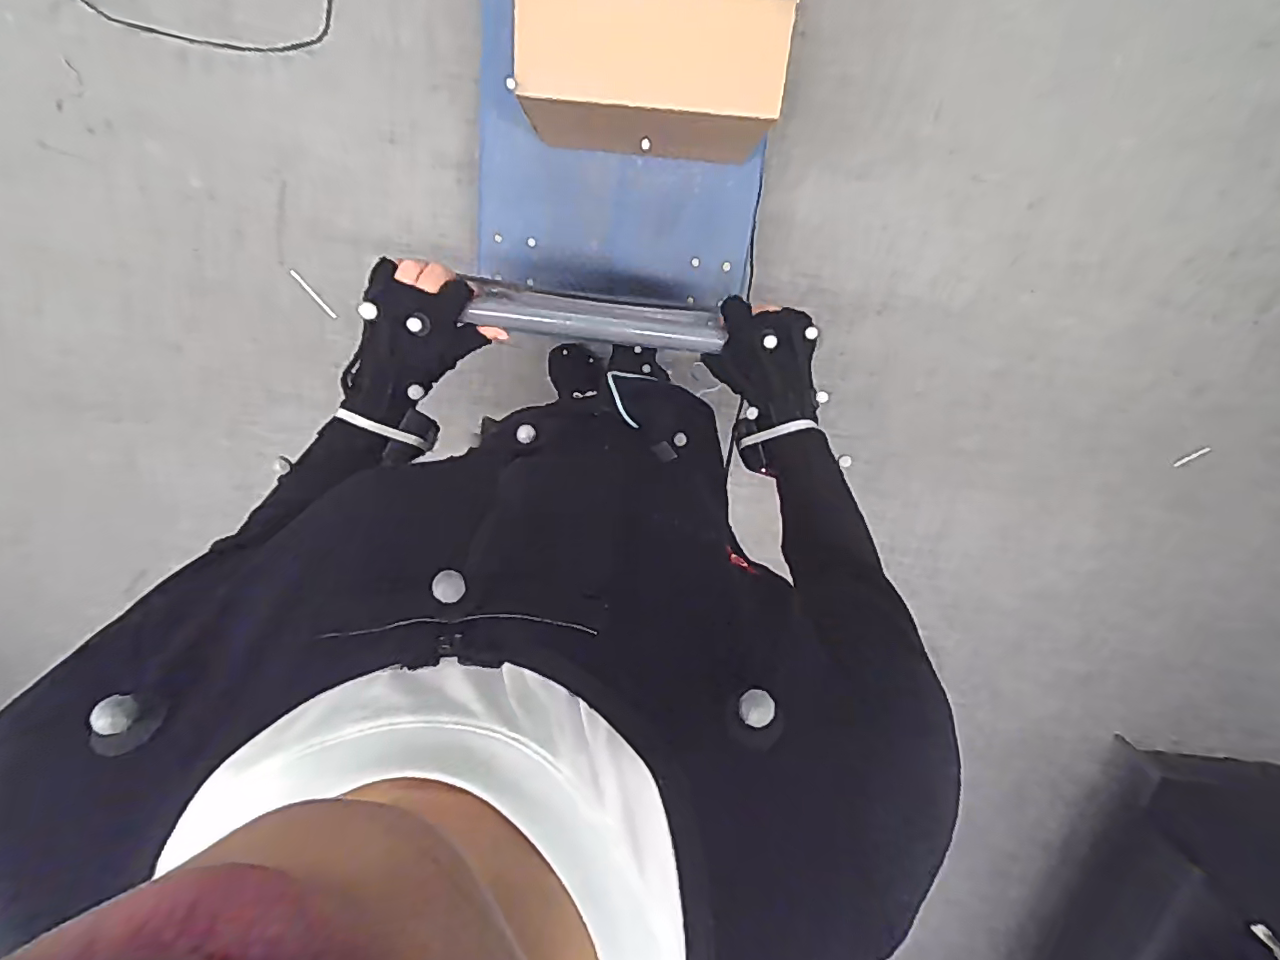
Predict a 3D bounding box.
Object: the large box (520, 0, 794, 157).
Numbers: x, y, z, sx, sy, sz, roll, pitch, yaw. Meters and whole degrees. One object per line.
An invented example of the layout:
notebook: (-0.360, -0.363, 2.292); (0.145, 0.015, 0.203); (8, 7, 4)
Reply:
large box: (0.027, -0.762, 0.912); (0.408, 0.320, 0.320); (4, 109, -2)
